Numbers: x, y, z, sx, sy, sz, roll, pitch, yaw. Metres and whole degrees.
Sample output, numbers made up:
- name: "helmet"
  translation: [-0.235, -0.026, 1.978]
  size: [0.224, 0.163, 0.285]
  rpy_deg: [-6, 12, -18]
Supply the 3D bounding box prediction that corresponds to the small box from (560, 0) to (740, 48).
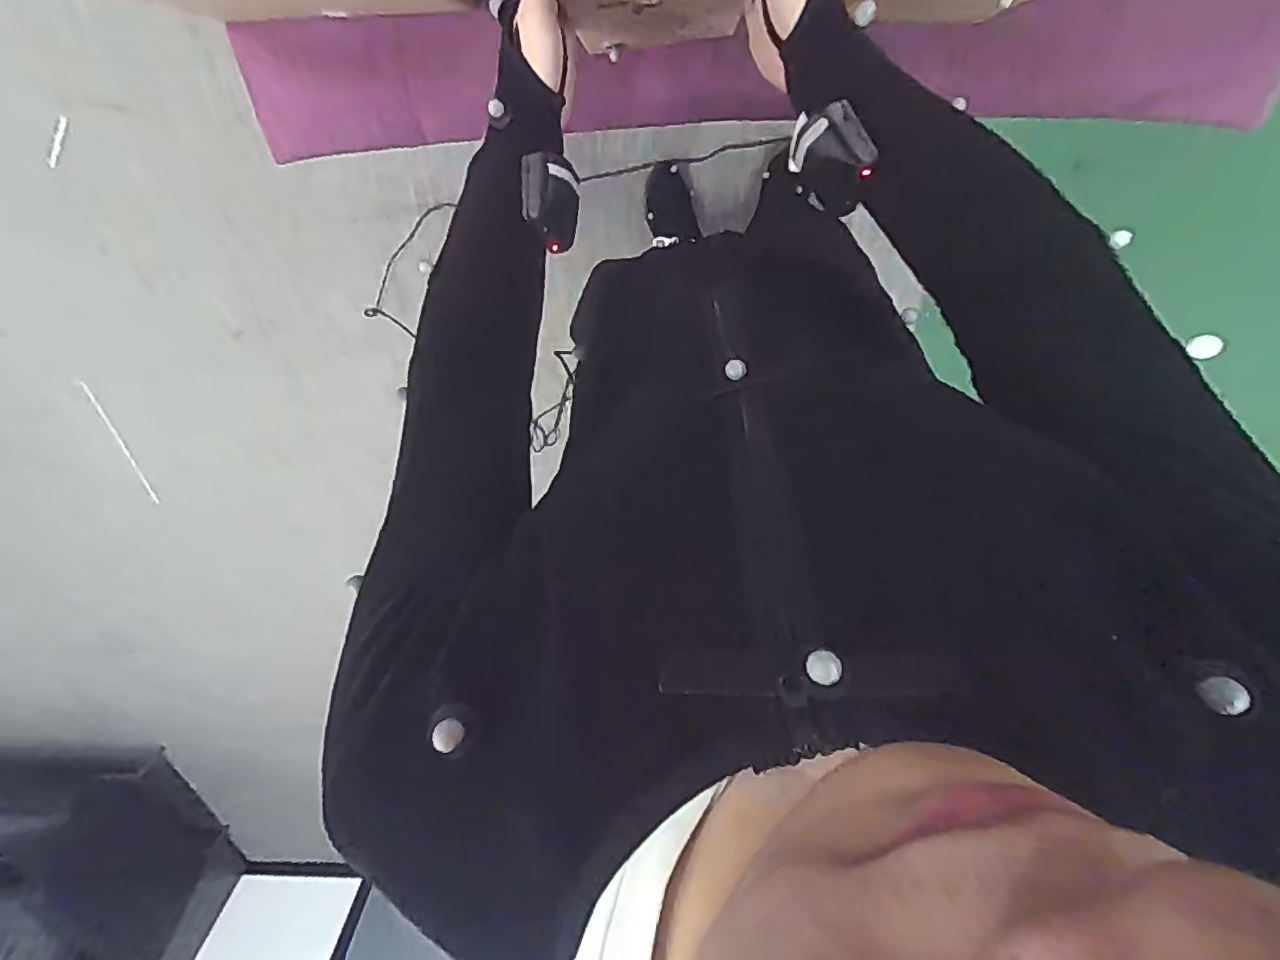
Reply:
- name: "small box"
  translation: [0.010, -0.524, 0.494]
  size: [0.168, 0.176, 0.179]
  rpy_deg: [-4, 117, 6]
